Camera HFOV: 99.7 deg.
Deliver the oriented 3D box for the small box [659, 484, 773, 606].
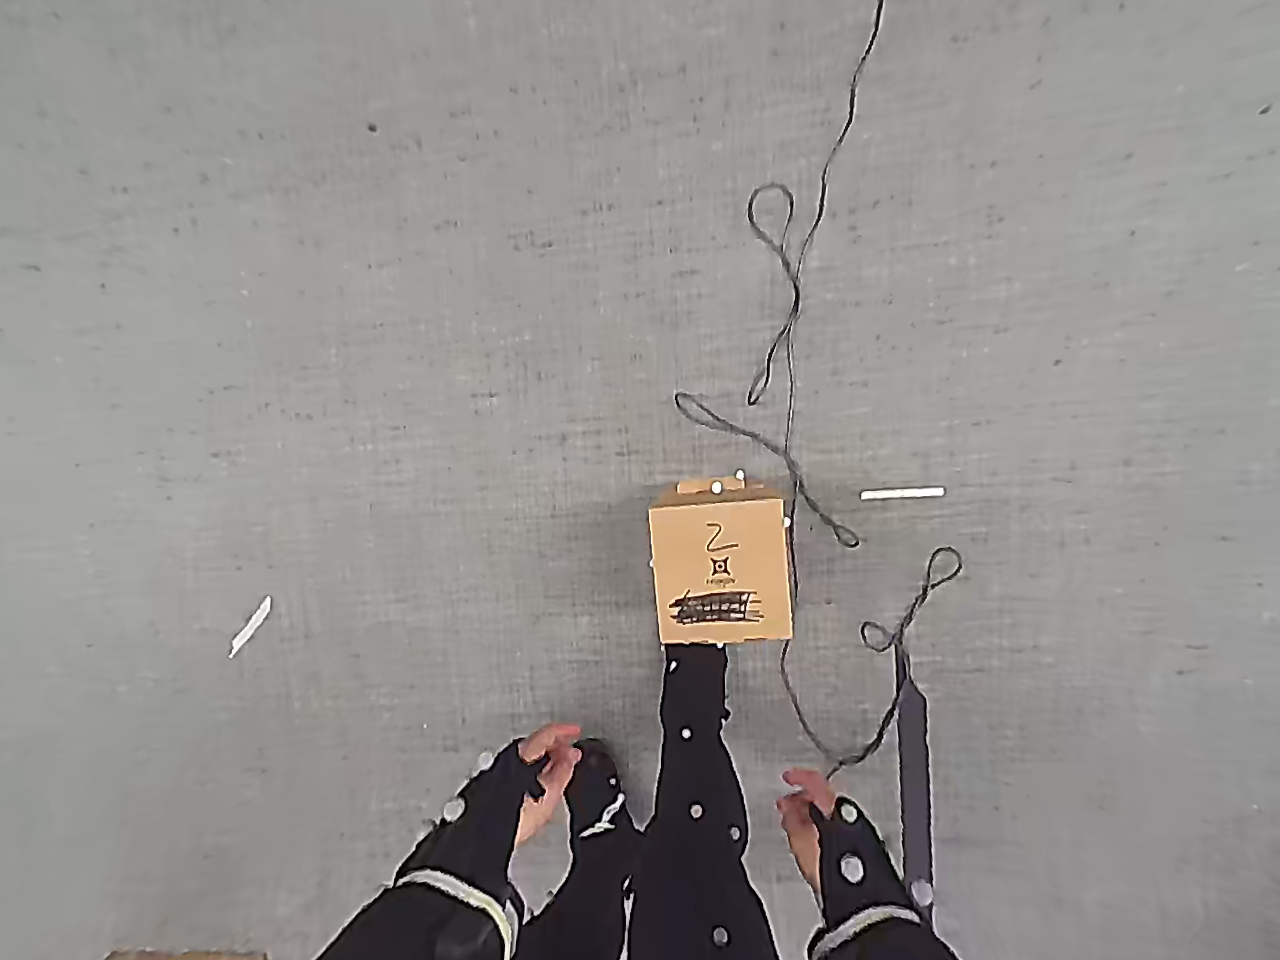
[{"bbox_3d":[0.126,0.100,0.911,0.168,0.176,0.179,-5,94,8],"label":"small box"}]
